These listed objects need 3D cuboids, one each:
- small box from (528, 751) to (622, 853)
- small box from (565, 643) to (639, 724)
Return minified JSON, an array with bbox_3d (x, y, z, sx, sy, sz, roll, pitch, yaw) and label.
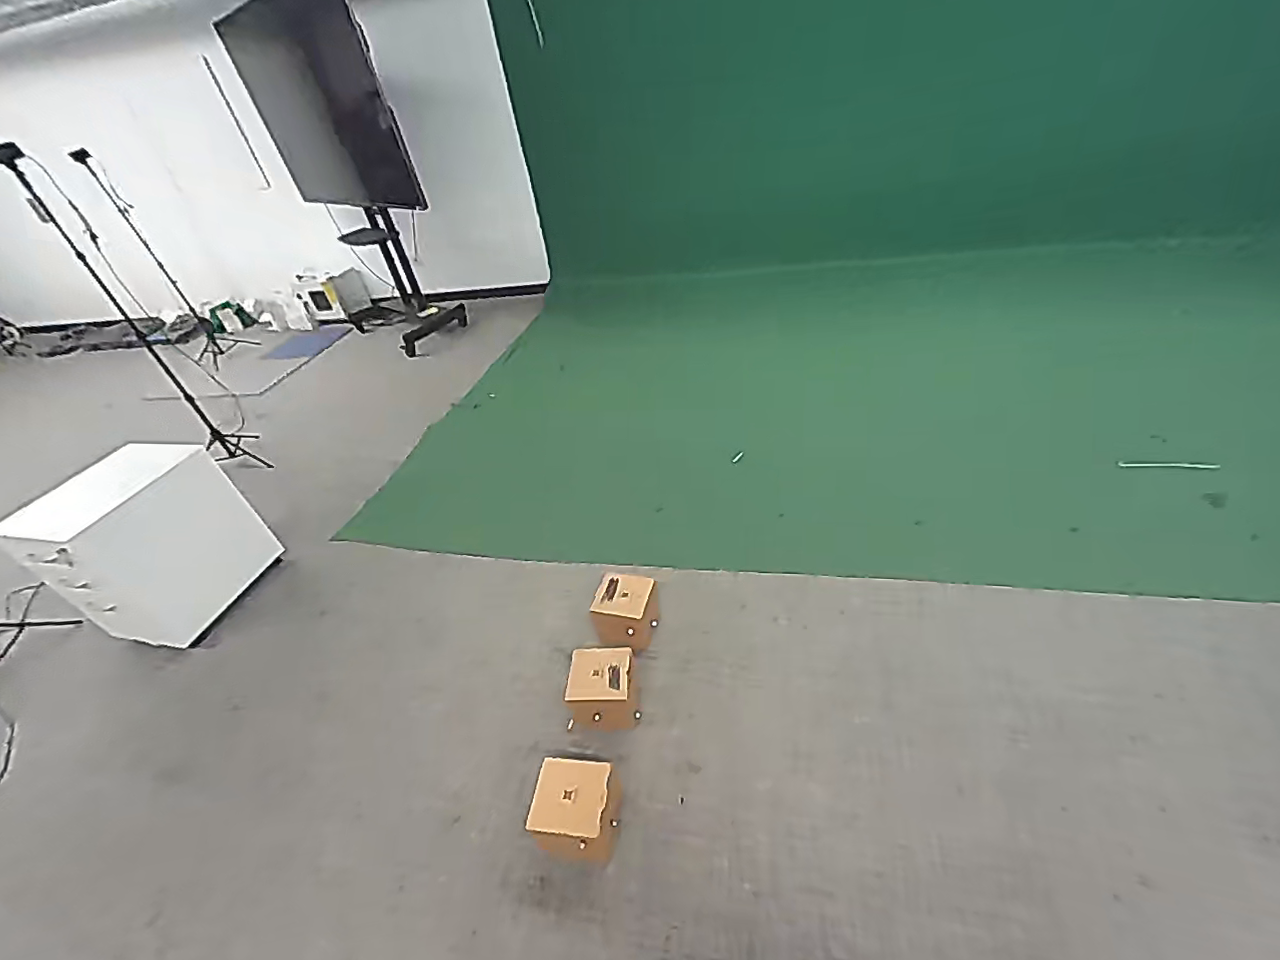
[{"bbox_3d":[-0.153,0.794,1.334,0.179,0.176,0.168,-1,39,11],"label":"small box"},{"bbox_3d":[-0.102,0.594,1.576,0.179,0.176,0.168,-5,38,8],"label":"small box"}]
